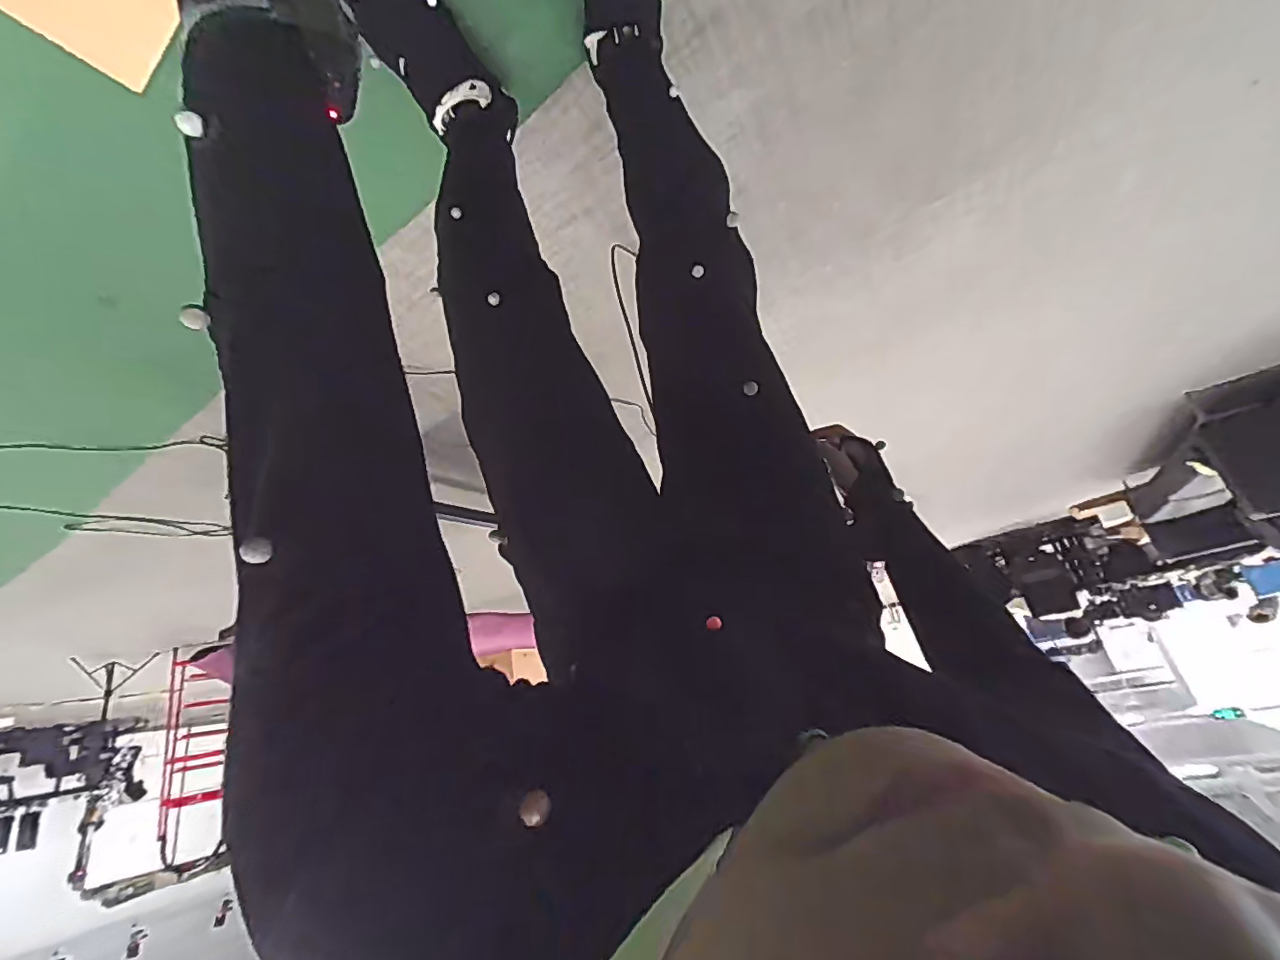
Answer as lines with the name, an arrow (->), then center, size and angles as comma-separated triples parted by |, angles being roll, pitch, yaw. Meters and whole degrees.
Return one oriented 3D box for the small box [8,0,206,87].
small box -> -0.592, -0.600, 0.587 | 0.168, 0.176, 0.179 | -23, 154, 30
